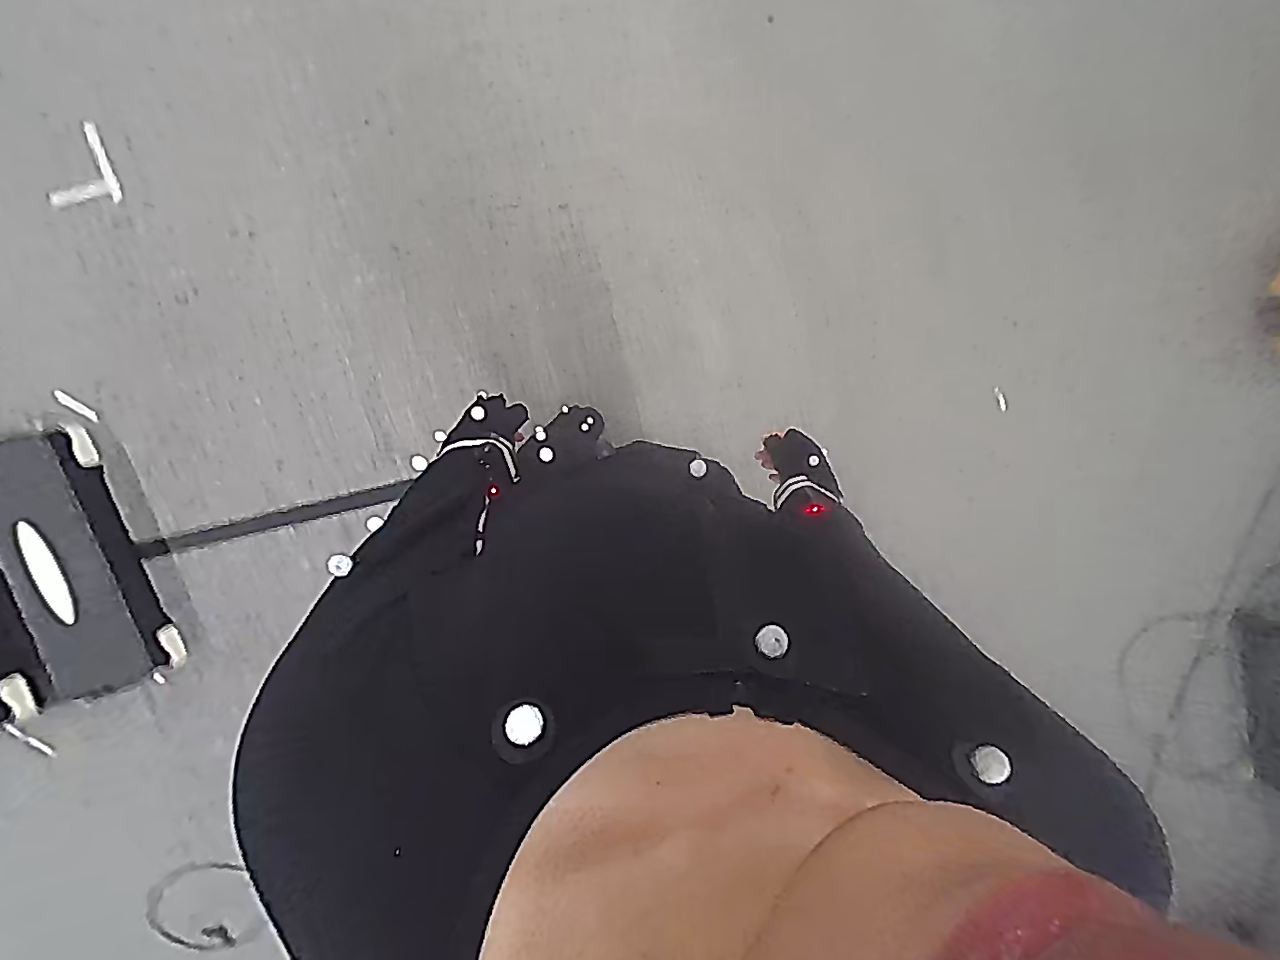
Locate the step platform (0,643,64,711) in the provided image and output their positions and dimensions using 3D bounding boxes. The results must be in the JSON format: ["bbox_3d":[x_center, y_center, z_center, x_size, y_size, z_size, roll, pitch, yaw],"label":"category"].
[{"bbox_3d":[-1.713,0.259,1.275,0.286,0.204,0.684,-16,98,-3],"label":"step platform"}]
